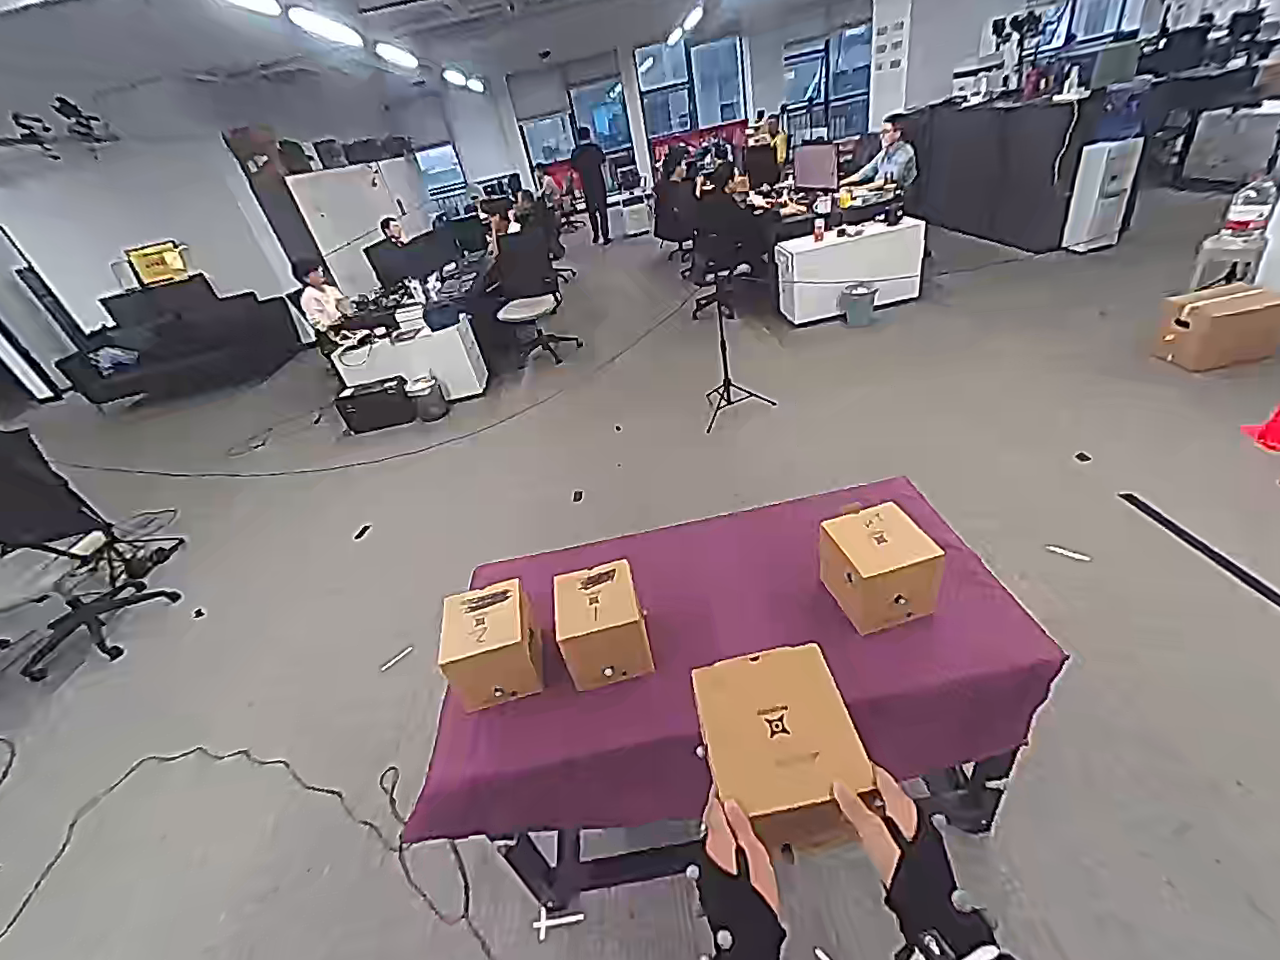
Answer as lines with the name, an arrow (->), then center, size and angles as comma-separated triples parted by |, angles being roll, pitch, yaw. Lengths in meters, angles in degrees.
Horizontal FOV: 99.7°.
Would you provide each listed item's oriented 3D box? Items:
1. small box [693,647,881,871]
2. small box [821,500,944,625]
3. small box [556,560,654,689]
small box -> 0.166, 0.337, 0.658 | 0.168, 0.176, 0.179 | -12, 39, 0
small box -> 0.492, 0.175, 1.115 | 0.168, 0.176, 0.179 | -16, 33, -3
small box -> -0.075, 0.302, 1.136 | 0.168, 0.176, 0.179 | -15, 35, -1
